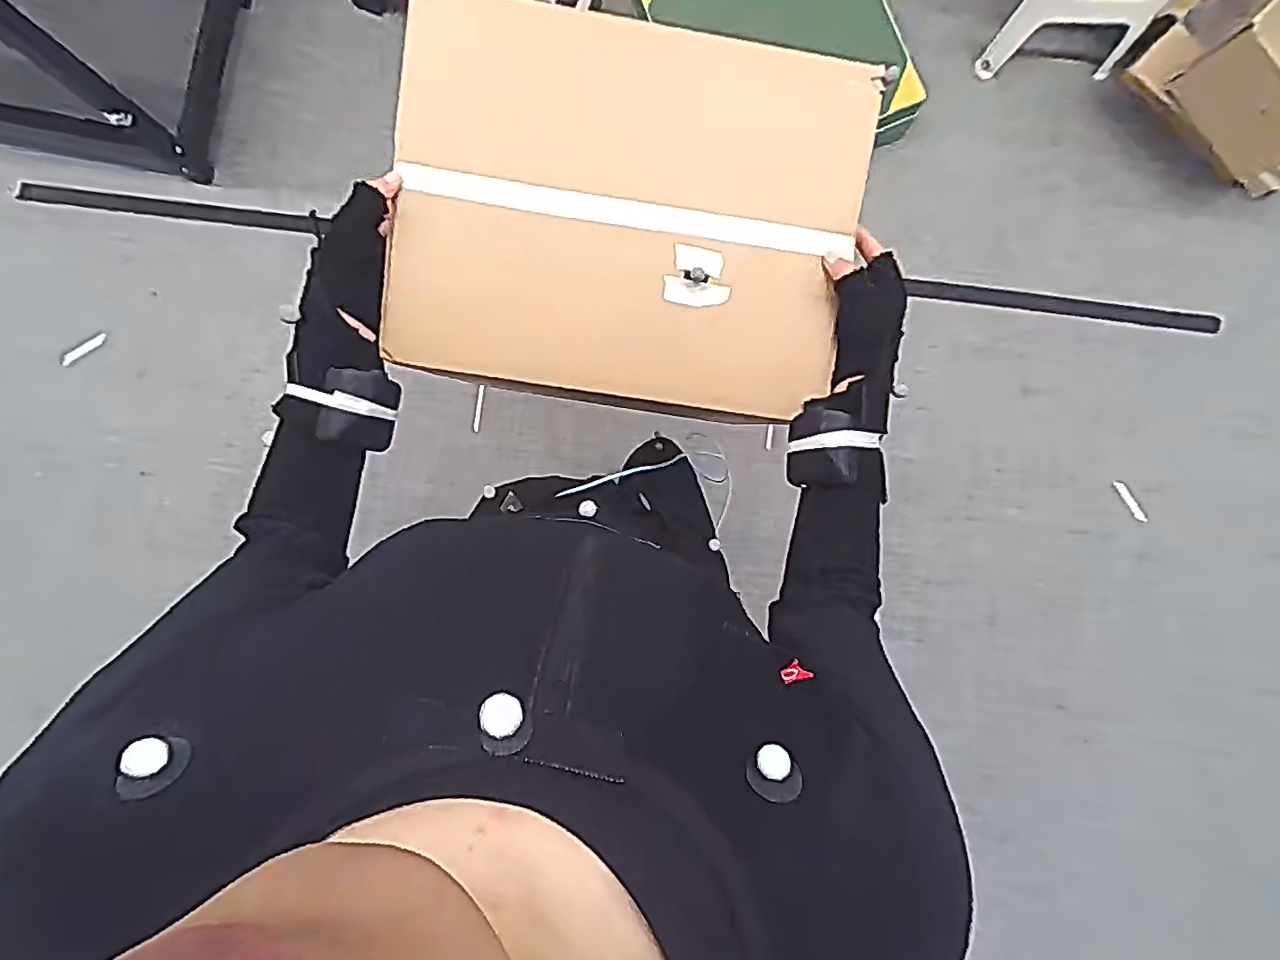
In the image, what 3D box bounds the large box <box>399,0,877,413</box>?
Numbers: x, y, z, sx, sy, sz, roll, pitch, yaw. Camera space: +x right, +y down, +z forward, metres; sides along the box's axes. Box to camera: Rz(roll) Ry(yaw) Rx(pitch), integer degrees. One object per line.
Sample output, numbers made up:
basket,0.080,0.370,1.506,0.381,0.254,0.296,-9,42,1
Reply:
large box,-0.013,-0.260,0.634,0.408,0.320,0.320,9,97,-4
